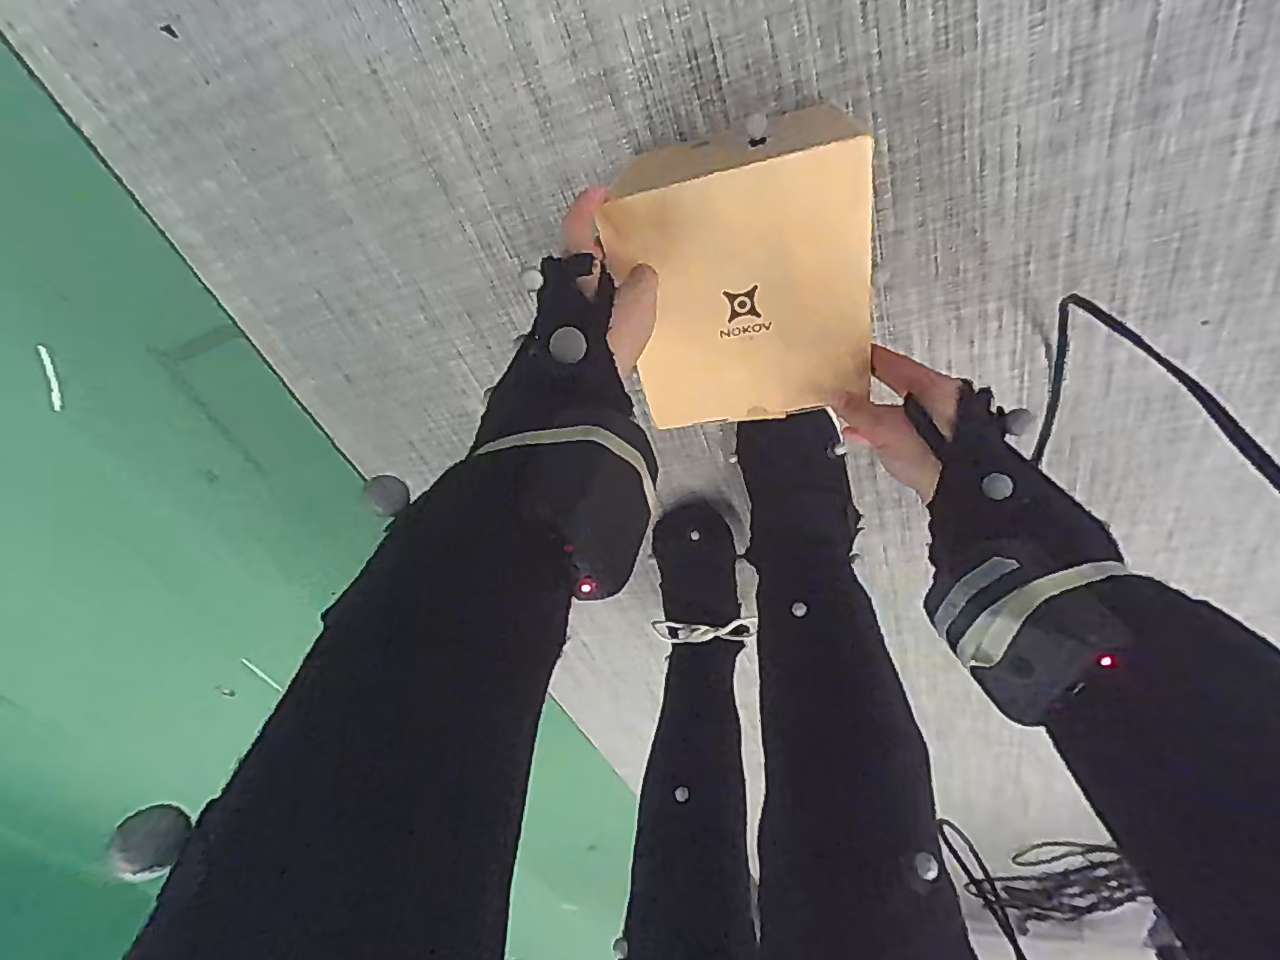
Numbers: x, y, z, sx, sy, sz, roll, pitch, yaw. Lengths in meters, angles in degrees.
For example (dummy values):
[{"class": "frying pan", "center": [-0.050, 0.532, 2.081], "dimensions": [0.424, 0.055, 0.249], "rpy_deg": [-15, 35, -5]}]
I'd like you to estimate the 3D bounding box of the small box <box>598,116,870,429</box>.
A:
[{"class": "small box", "center": [0.079, -0.167, 0.430], "dimensions": [0.168, 0.176, 0.179], "rpy_deg": [-7, 129, 15]}]
